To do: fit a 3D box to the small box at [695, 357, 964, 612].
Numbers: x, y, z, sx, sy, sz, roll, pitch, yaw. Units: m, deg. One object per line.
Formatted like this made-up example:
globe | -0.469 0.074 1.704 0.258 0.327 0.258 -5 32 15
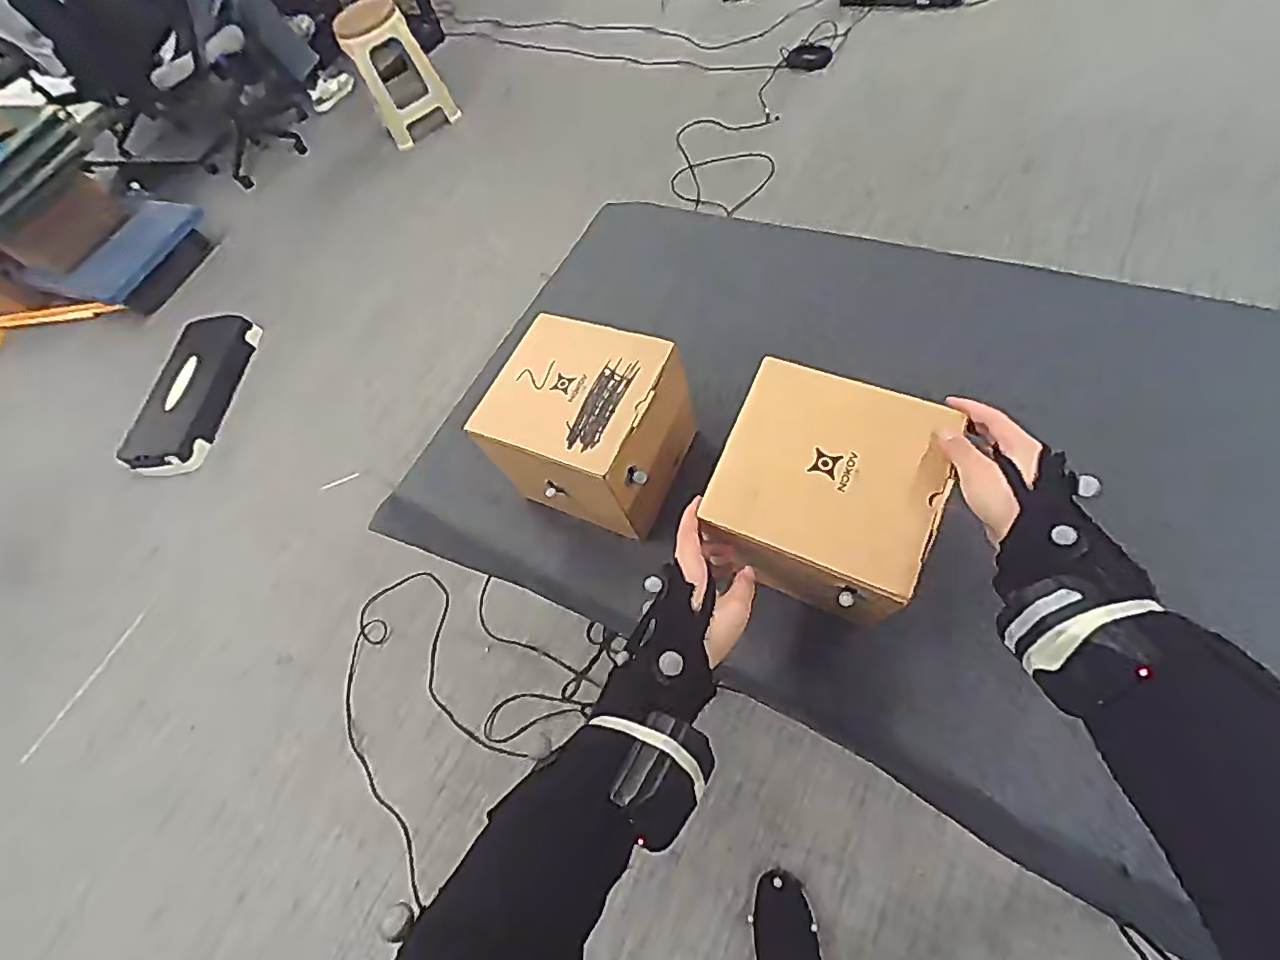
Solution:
small box | 0.169 0.014 0.520 0.179 0.176 0.168 21 74 17
